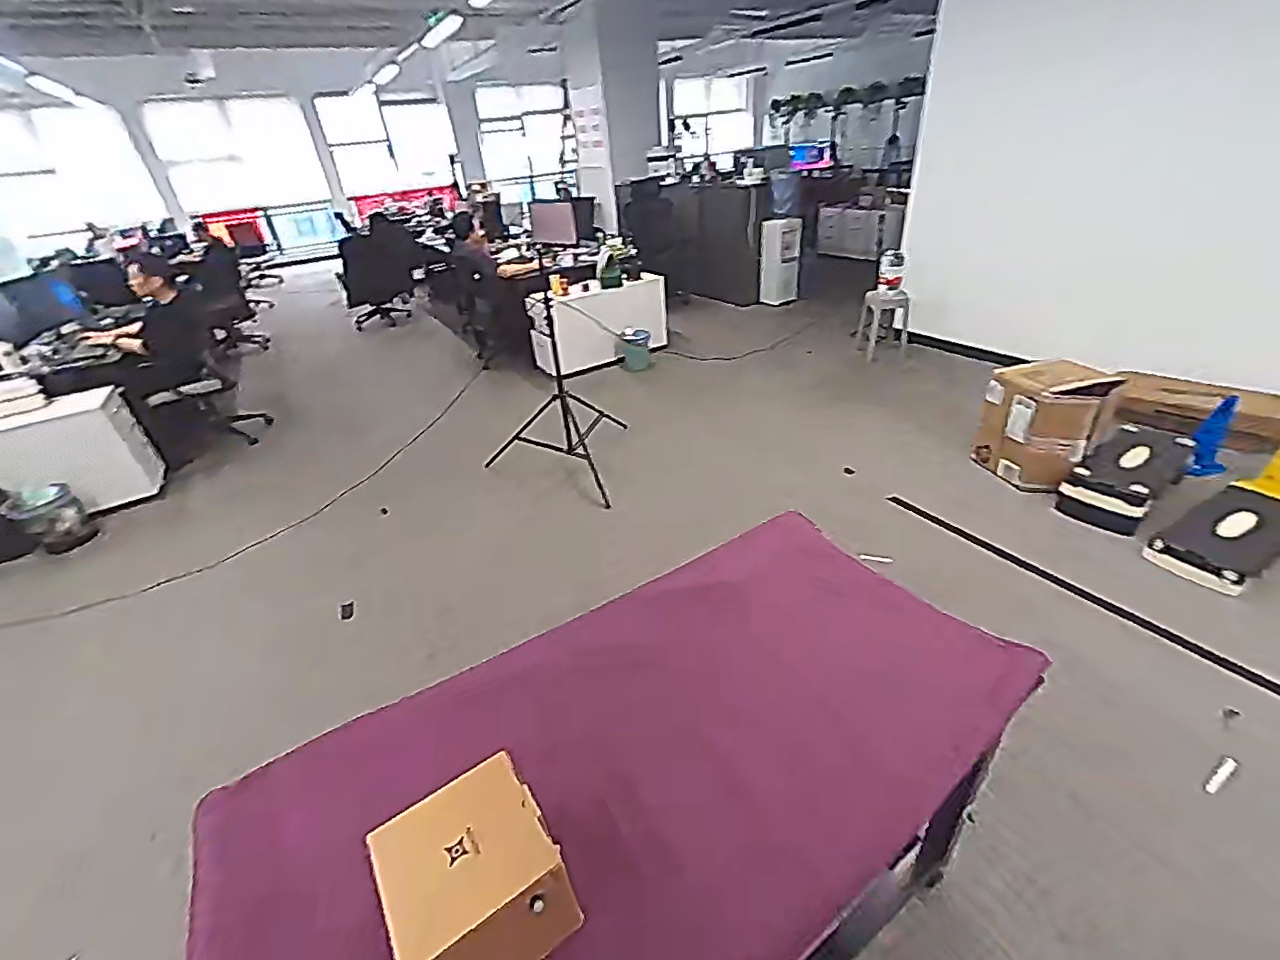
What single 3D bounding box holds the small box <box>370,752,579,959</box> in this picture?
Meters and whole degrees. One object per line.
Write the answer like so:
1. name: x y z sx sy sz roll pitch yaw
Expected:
1. small box: -0.194 0.485 0.654 0.179 0.176 0.168 -24 36 -28
